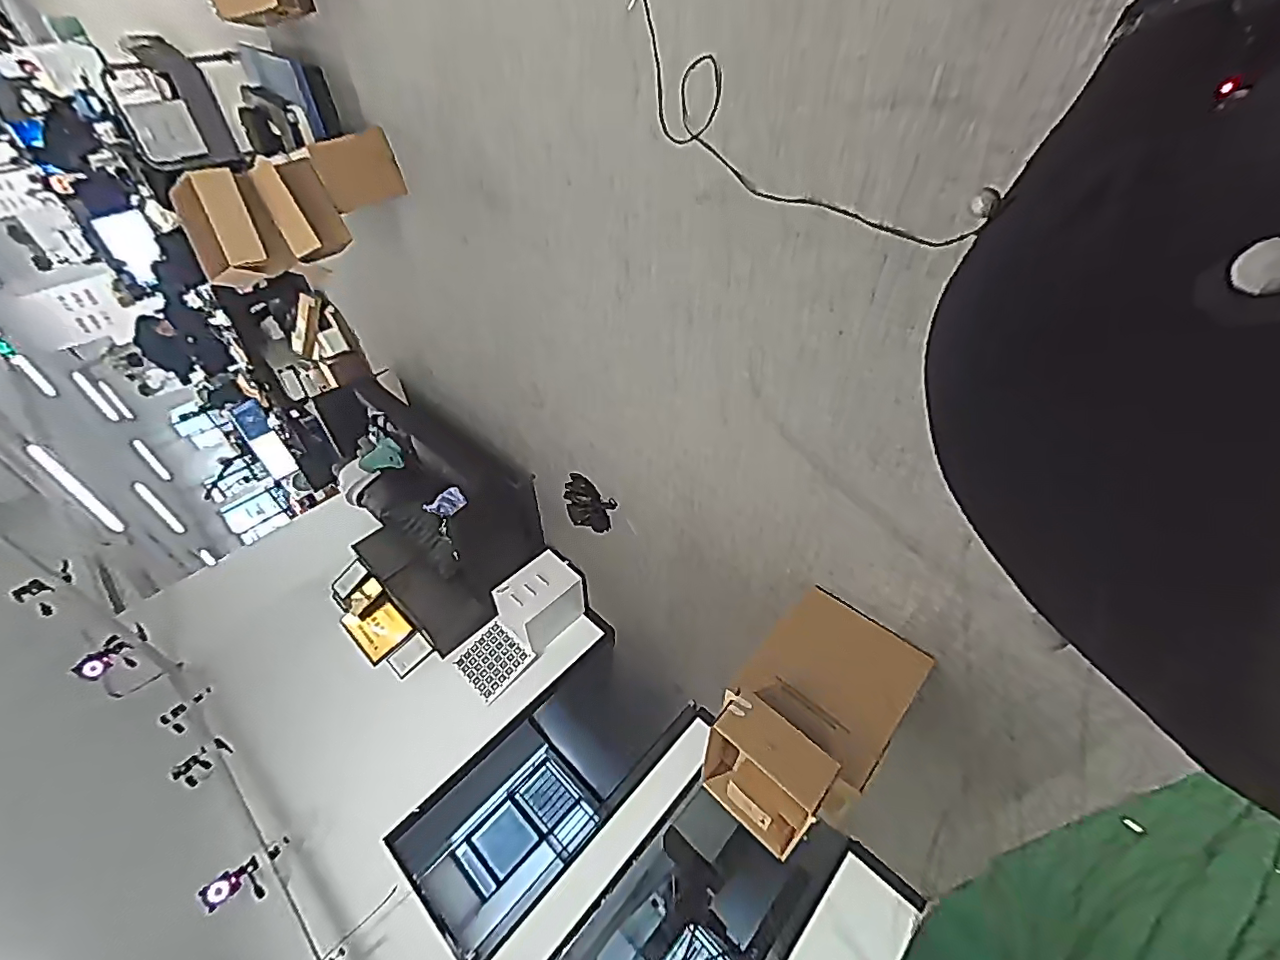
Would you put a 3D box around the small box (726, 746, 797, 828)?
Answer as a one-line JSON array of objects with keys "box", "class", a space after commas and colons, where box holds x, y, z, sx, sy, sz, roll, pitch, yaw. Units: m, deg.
[{"box": [0.427, 1.076, 1.915, 0.179, 0.176, 0.168, 33, 146, 32], "class": "small box"}]
